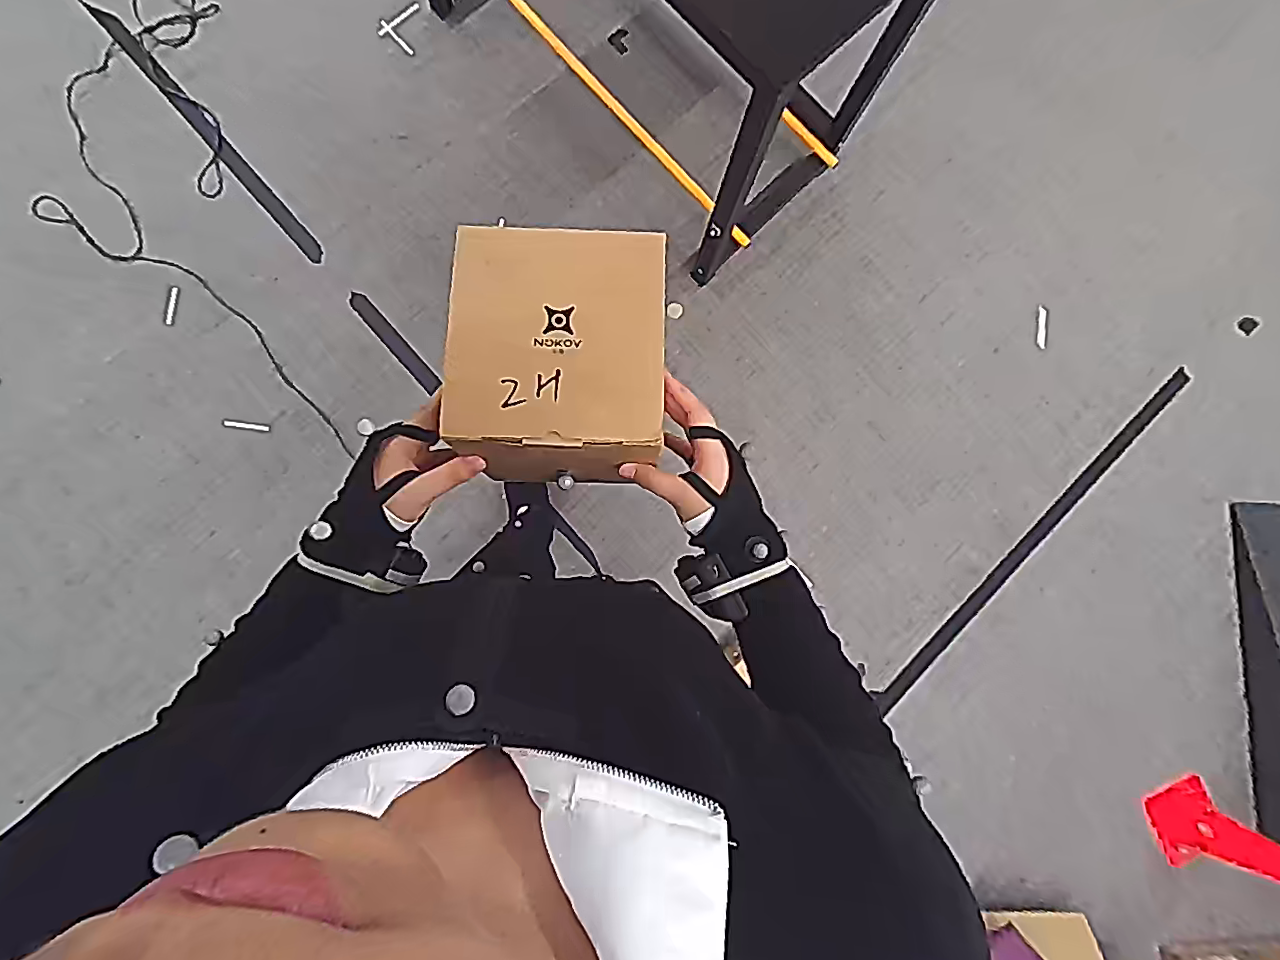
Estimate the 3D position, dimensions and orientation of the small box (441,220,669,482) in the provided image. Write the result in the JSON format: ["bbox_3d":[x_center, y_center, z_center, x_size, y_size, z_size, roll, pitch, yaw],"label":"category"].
[{"bbox_3d":[-0.064,-0.102,0.489,0.168,0.176,0.179,1,80,-1],"label":"small box"}]
